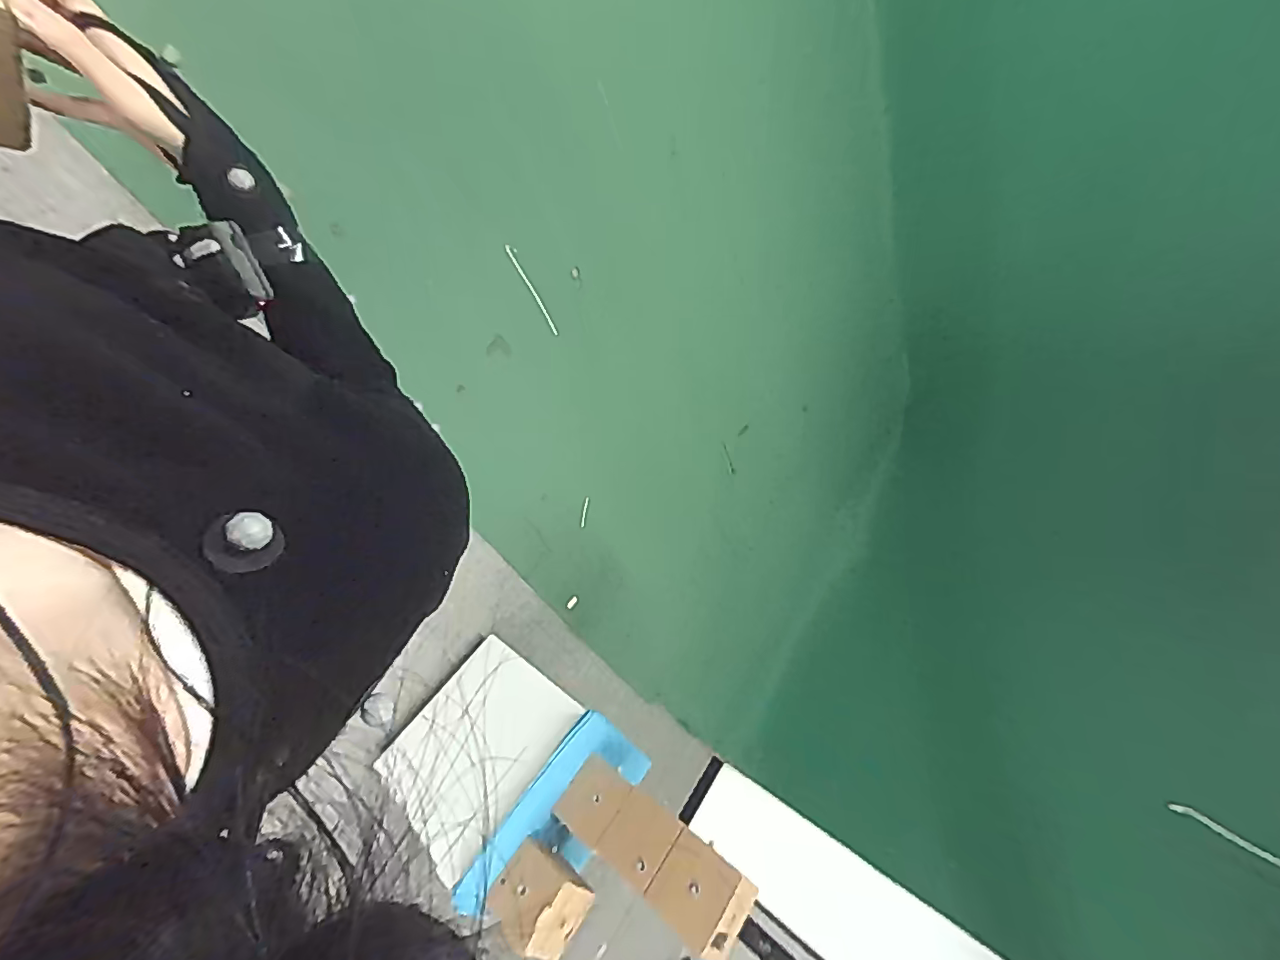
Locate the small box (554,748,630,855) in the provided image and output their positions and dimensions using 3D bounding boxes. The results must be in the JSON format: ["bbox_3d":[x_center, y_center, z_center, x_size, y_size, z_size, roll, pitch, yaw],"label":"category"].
[{"bbox_3d":[-0.110,0.873,1.464,0.179,0.176,0.168,-51,136,-23],"label":"small box"}]

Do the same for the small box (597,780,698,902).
[{"bbox_3d":[0.013,0.905,1.360,0.179,0.176,0.168,-50,136,-23],"label":"small box"}]

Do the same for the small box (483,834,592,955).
[{"bbox_3d":[-0.259,1.033,1.357,0.168,0.176,0.179,-50,134,-23],"label":"small box"}]
